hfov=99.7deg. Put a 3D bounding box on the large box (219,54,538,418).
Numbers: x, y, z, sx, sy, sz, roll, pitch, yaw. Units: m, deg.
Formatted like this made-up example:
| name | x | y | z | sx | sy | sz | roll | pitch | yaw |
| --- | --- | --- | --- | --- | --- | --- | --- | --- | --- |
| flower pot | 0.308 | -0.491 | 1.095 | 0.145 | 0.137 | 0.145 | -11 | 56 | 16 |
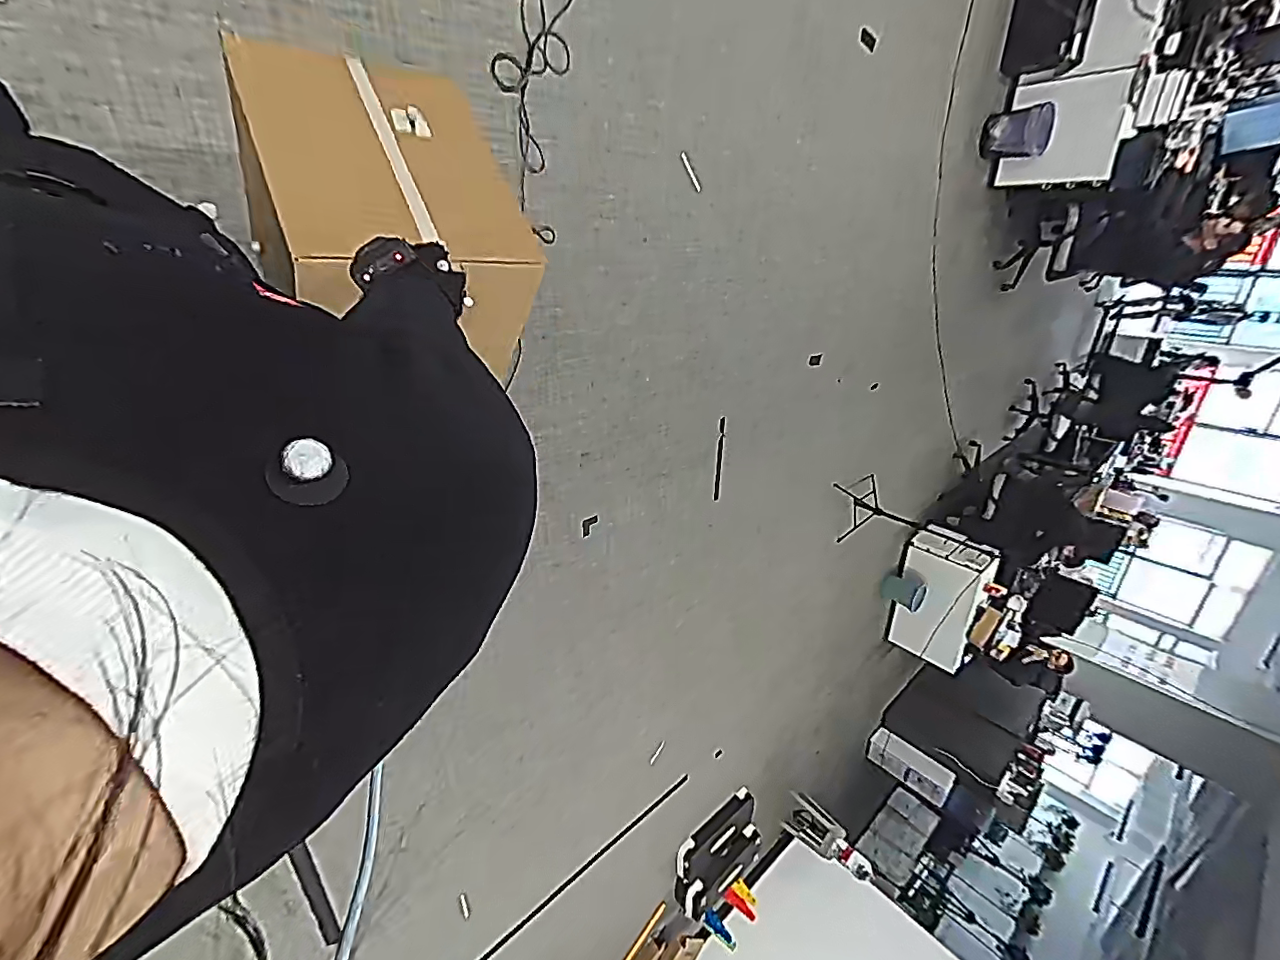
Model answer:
| name | x | y | z | sx | sy | sz | roll | pitch | yaw |
| --- | --- | --- | --- | --- | --- | --- | --- | --- | --- |
| large box | -0.416 | -0.362 | 0.862 | 0.320 | 0.408 | 0.320 | -14 | 157 | -37 |
